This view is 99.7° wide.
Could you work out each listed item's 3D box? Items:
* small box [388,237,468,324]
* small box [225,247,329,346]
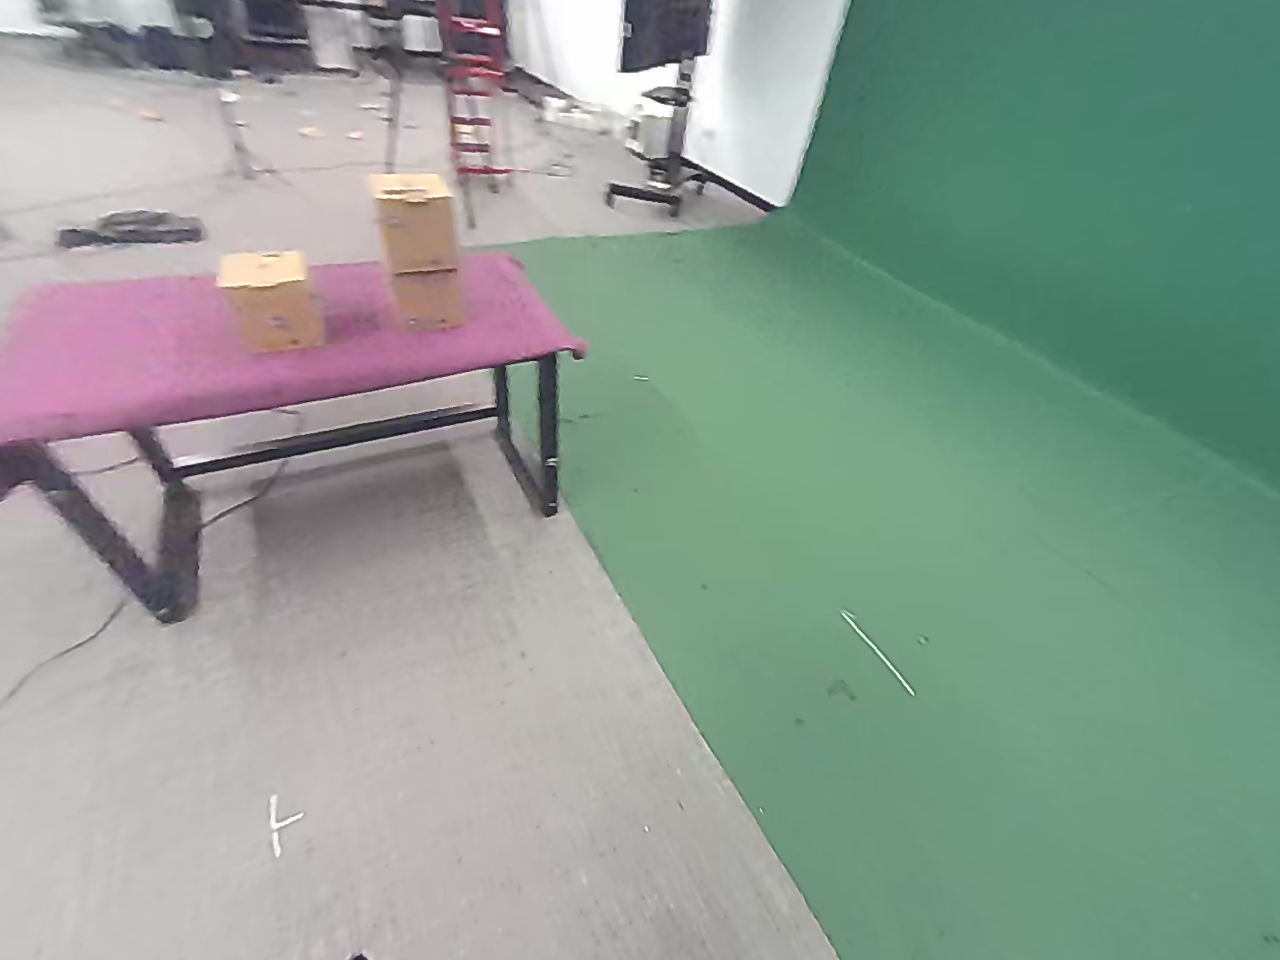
[{"bbox_3d":[-0.558,-0.524,1.429,0.168,0.176,0.179,-11,48,-22],"label":"small box"},{"bbox_3d":[-0.857,-0.433,1.290,0.168,0.176,0.179,-13,48,-22],"label":"small box"}]
